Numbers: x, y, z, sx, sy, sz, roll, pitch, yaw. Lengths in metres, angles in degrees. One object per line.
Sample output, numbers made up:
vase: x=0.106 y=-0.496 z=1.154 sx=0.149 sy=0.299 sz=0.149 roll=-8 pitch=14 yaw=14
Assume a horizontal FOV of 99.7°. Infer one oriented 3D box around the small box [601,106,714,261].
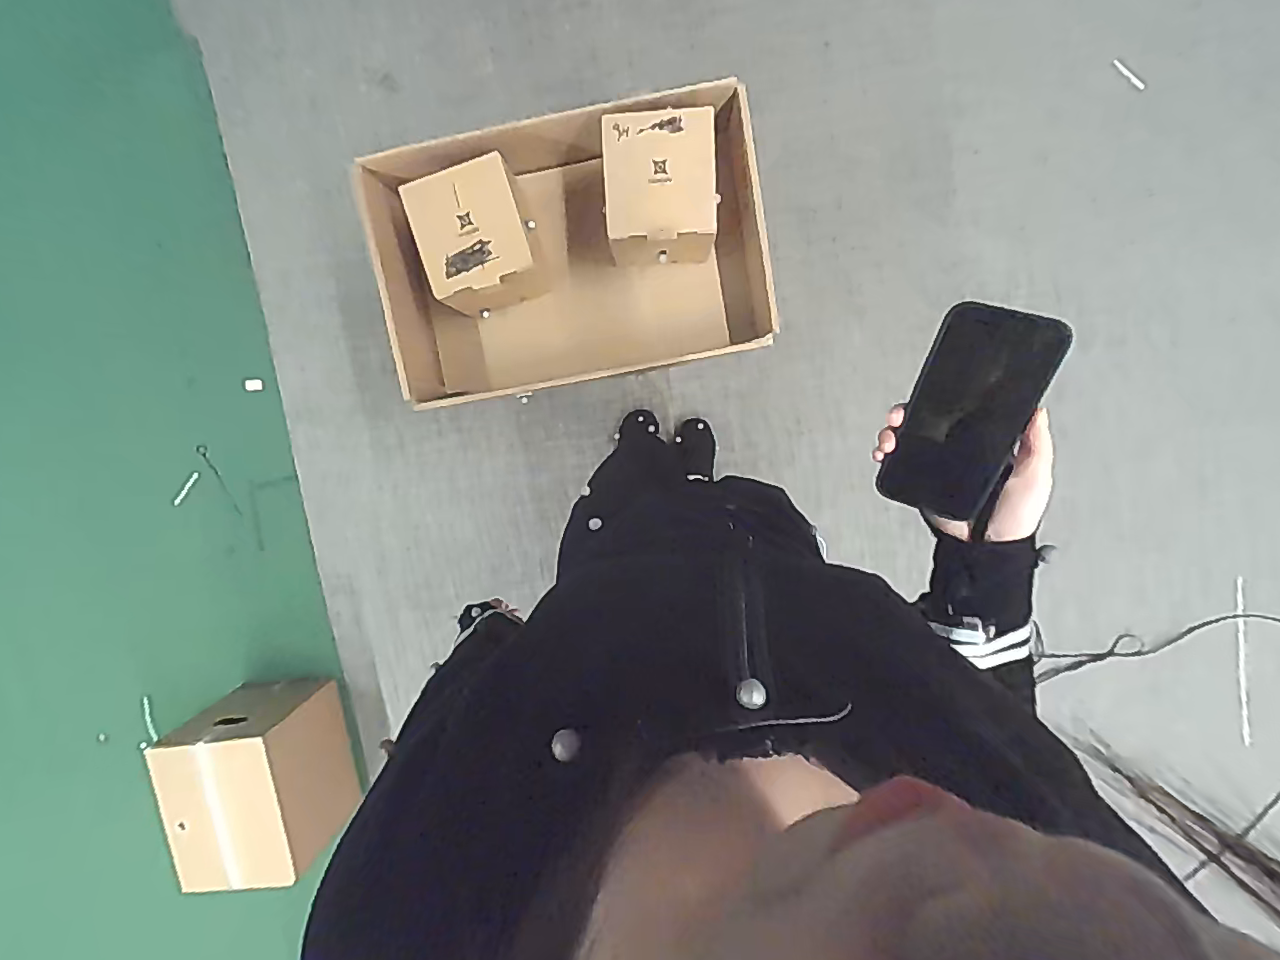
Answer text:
small box: x=0.033 y=-0.461 z=0.870 sx=0.168 sy=0.176 sz=0.179 roll=-2 pitch=98 yaw=3
